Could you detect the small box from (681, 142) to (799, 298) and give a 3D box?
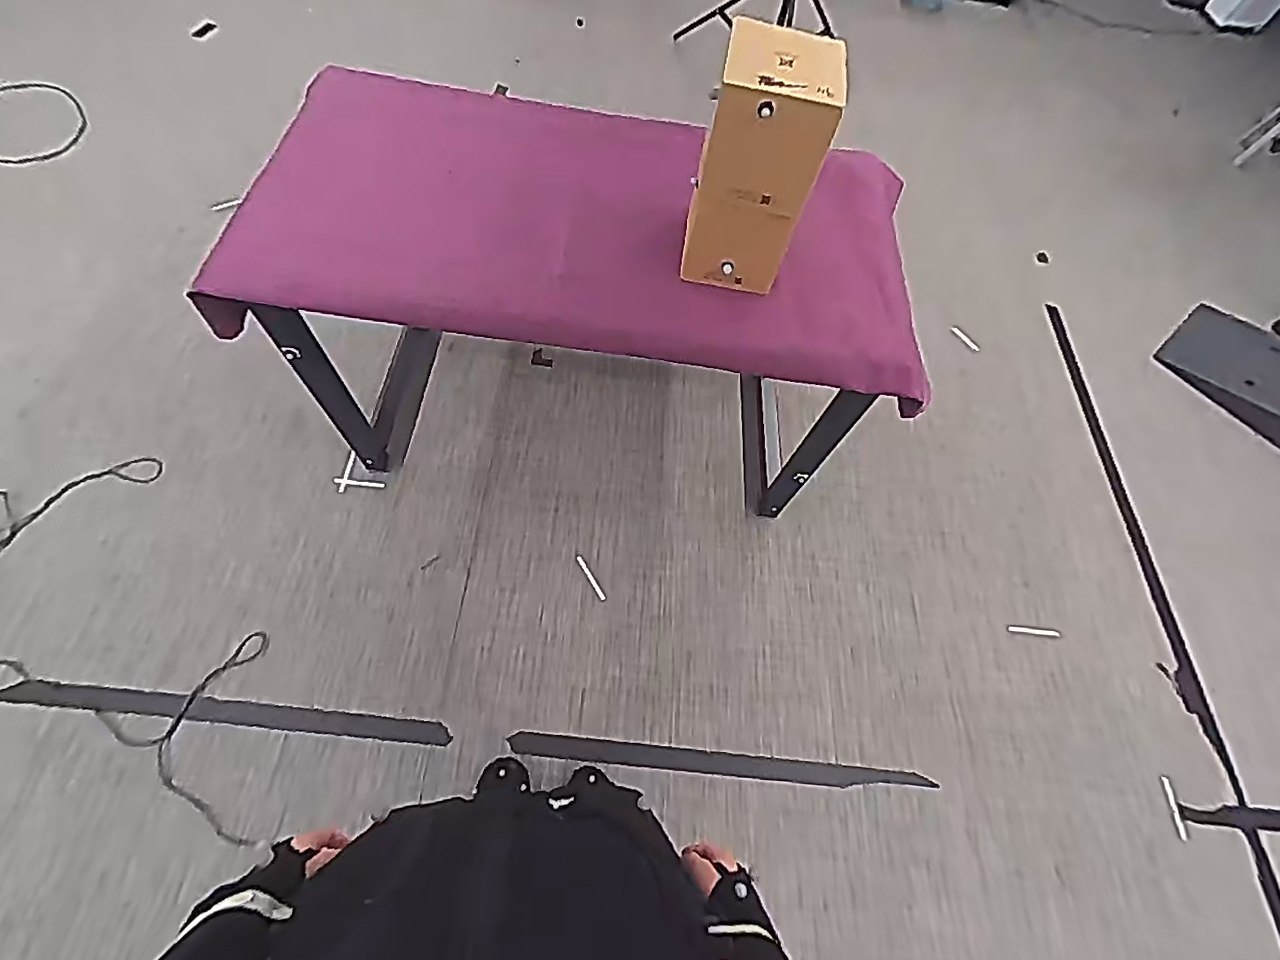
[{"bbox_3d":[0.172,-0.456,0.956,0.168,0.176,0.179,9,63,-2],"label":"small box"}]

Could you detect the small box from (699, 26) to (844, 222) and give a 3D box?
[{"bbox_3d":[0.189,-0.526,0.808,0.168,0.176,0.179,11,62,-1],"label":"small box"}]
